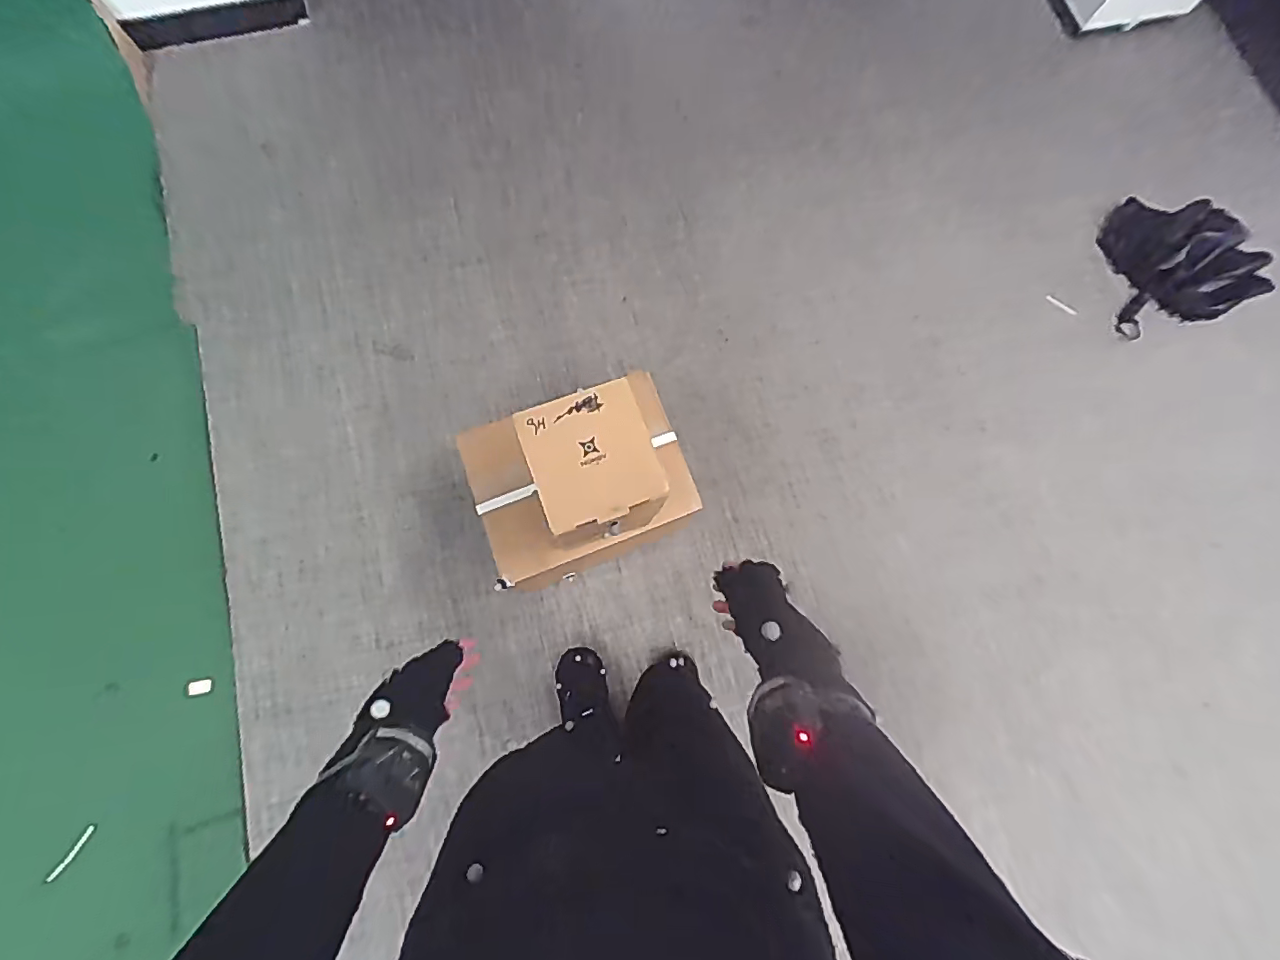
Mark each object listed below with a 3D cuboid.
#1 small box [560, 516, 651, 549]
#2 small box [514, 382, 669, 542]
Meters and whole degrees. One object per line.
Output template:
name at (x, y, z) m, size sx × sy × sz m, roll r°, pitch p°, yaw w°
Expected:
small box at (-0.079, 0.017, 0.952) m, size 0.179 × 0.176 × 0.168 m, roll -18°, pitch 80°, yaw -8°
small box at (-0.067, -0.014, 0.792) m, size 0.168 × 0.176 × 0.179 m, roll -20°, pitch 81°, yaw -7°
